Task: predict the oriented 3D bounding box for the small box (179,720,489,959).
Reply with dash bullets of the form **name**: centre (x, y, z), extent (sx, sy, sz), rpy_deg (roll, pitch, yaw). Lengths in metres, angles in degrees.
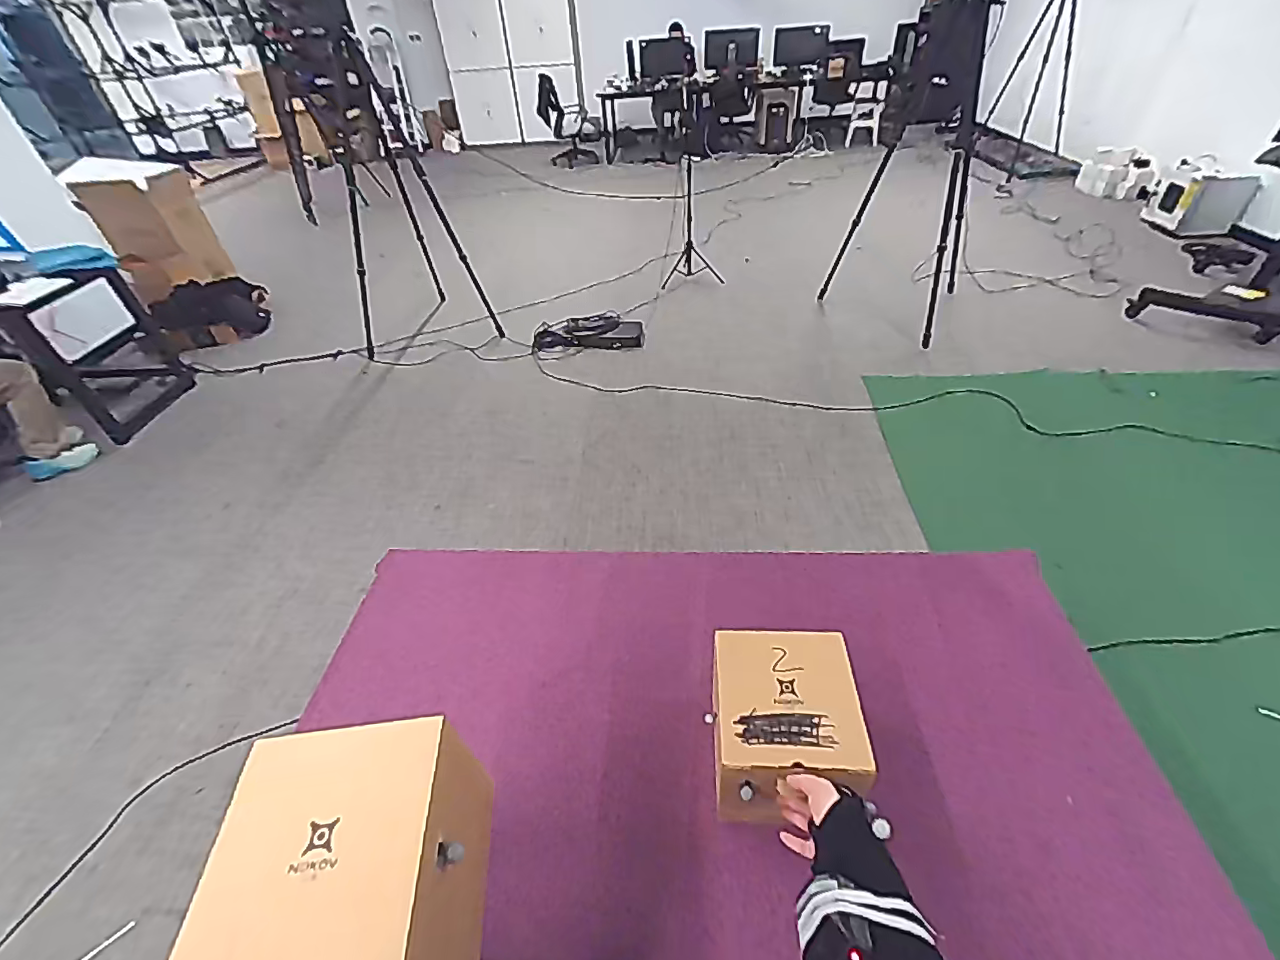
- **small box**: centre (-0.240, 0.341, 0.480), extent (0.168, 0.176, 0.179), rpy_deg (-7, 45, -1)
